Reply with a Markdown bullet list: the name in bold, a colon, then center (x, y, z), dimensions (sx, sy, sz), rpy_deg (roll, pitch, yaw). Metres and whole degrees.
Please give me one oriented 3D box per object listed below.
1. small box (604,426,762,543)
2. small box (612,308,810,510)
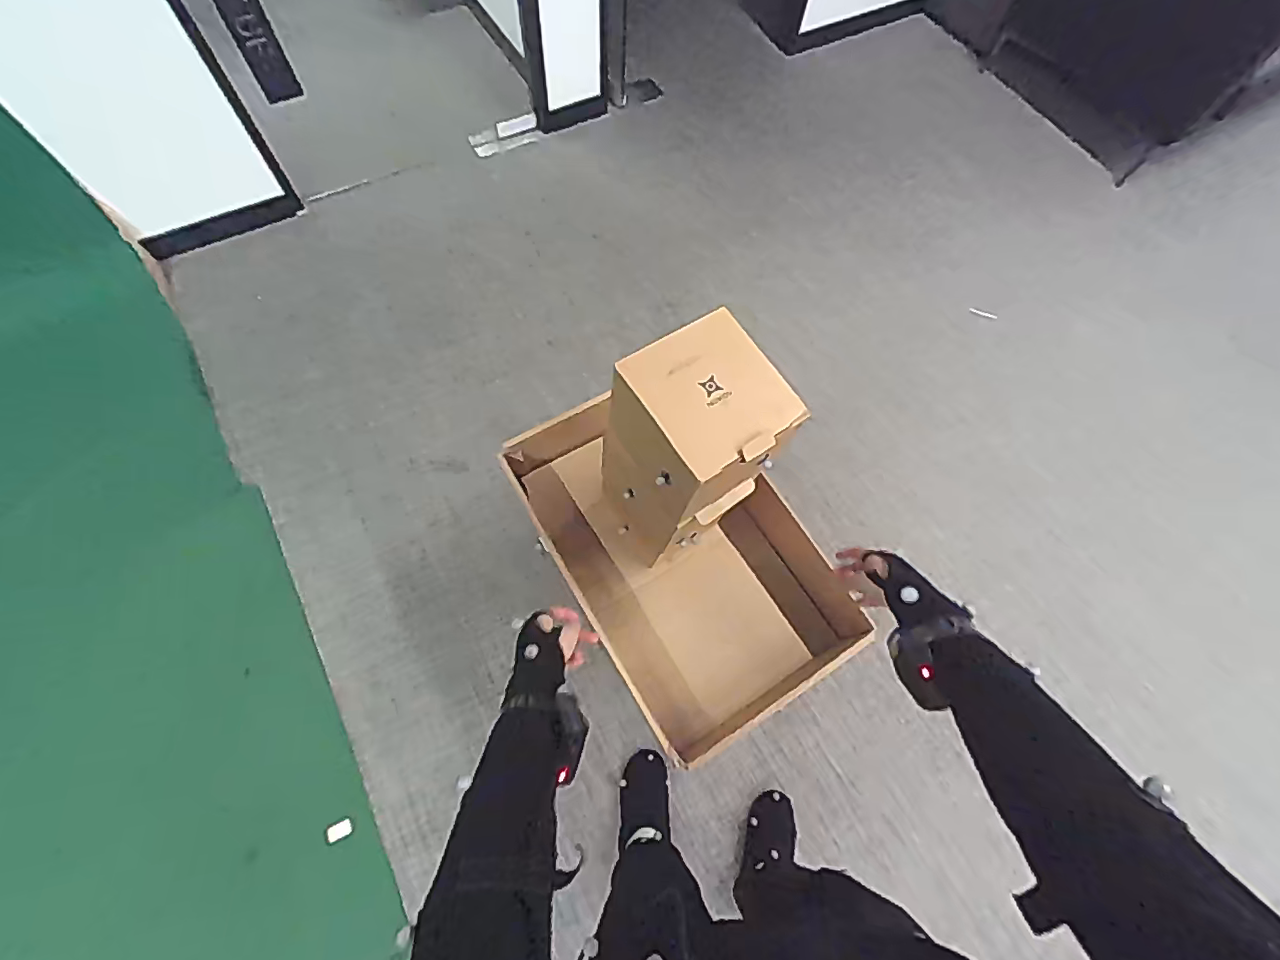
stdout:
- **small box**: center (0.057, -0.018, 0.848), dimensions (0.168, 0.176, 0.179), rpy_deg (-33, 76, -16)
- **small box**: center (0.078, -0.078, 0.698), dimensions (0.168, 0.176, 0.179), rpy_deg (-30, 75, -16)
